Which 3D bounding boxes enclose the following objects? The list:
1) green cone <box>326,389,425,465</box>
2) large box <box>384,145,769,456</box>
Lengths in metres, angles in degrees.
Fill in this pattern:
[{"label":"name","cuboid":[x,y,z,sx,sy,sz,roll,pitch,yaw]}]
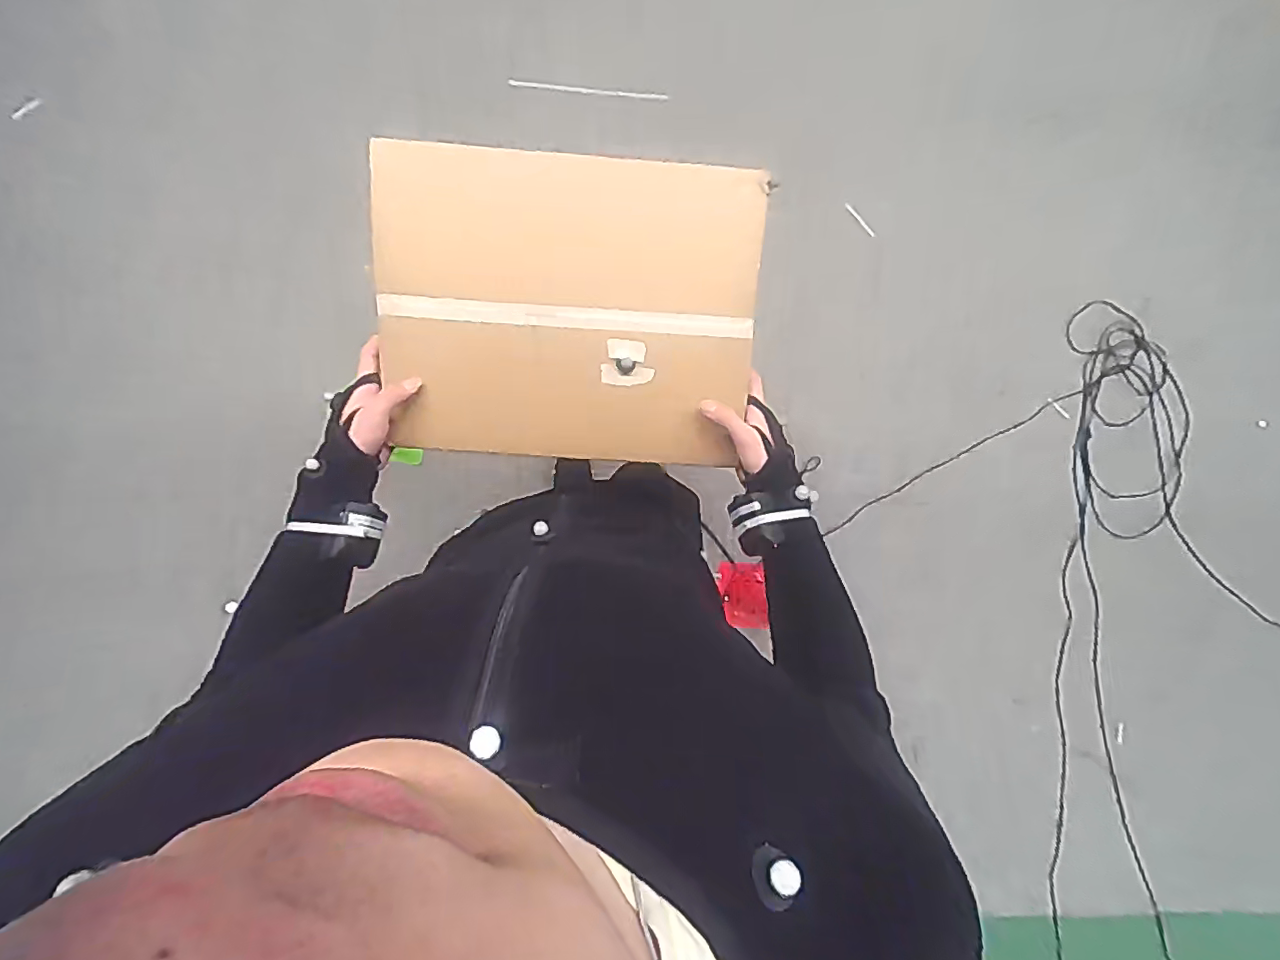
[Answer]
[{"label":"green cone","cuboid":[-0.712,-0.147,1.410,0.200,0.368,0.202,9,92,-4]},{"label":"large box","cuboid":[-0.077,-0.219,0.735,0.408,0.320,0.320,3,105,-3]}]
